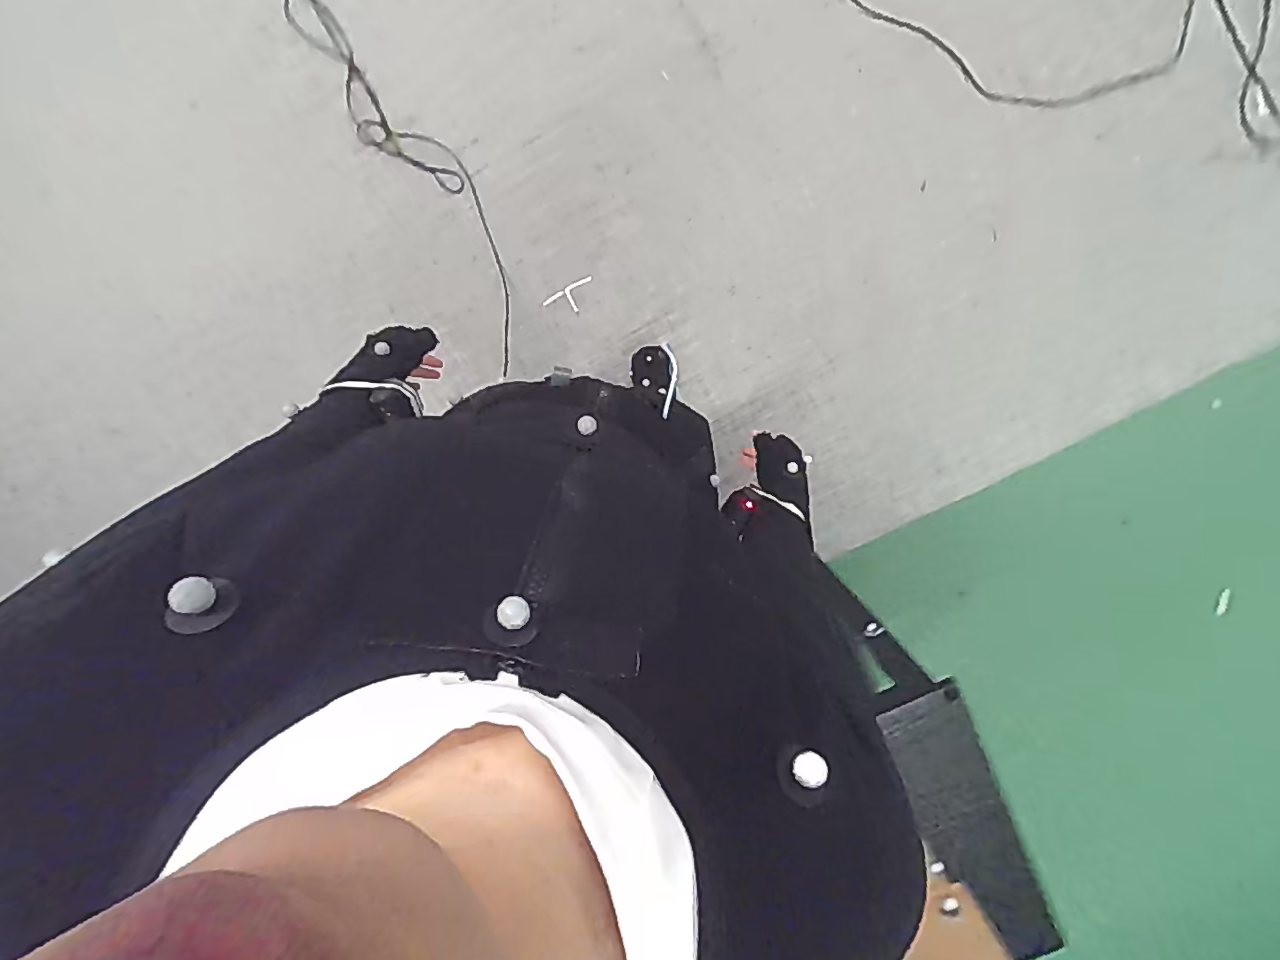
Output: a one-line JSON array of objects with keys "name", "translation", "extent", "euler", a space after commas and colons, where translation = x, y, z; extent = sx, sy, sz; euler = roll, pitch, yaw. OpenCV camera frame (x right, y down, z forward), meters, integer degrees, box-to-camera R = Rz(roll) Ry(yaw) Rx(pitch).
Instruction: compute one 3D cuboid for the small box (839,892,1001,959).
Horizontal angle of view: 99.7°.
[{"name": "small box", "translation": [0.361, 0.649, 0.664], "extent": [0.168, 0.176, 0.179], "euler": [-14, 105, 2]}]
